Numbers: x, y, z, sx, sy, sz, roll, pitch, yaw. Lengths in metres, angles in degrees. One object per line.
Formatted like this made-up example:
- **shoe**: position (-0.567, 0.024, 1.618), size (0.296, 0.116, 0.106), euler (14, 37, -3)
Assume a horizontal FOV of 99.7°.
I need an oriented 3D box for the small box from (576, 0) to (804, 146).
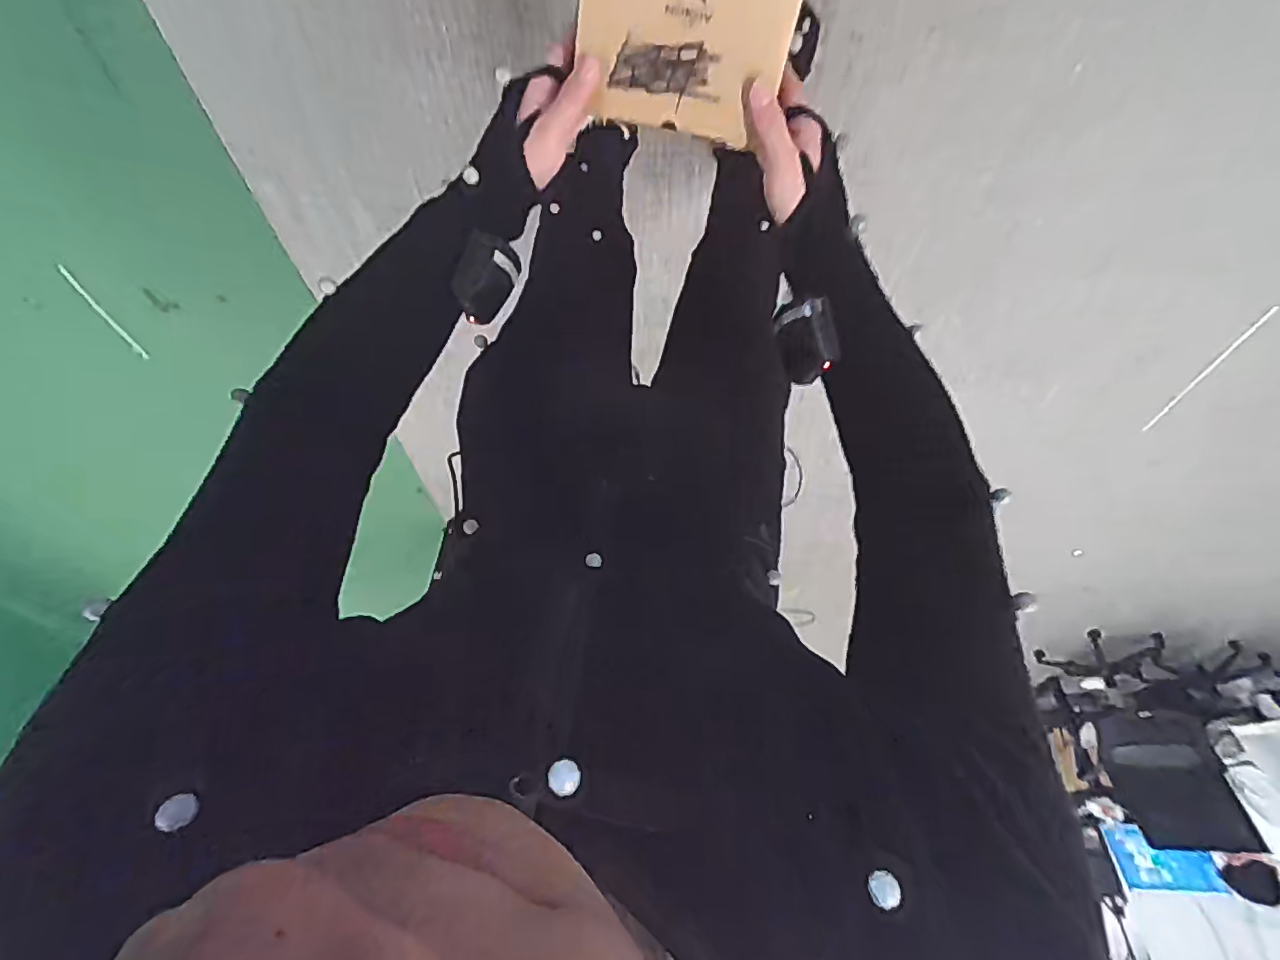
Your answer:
- **small box**: position (0.048, -0.413, 0.461), size (0.168, 0.176, 0.179), euler (10, 129, -2)
